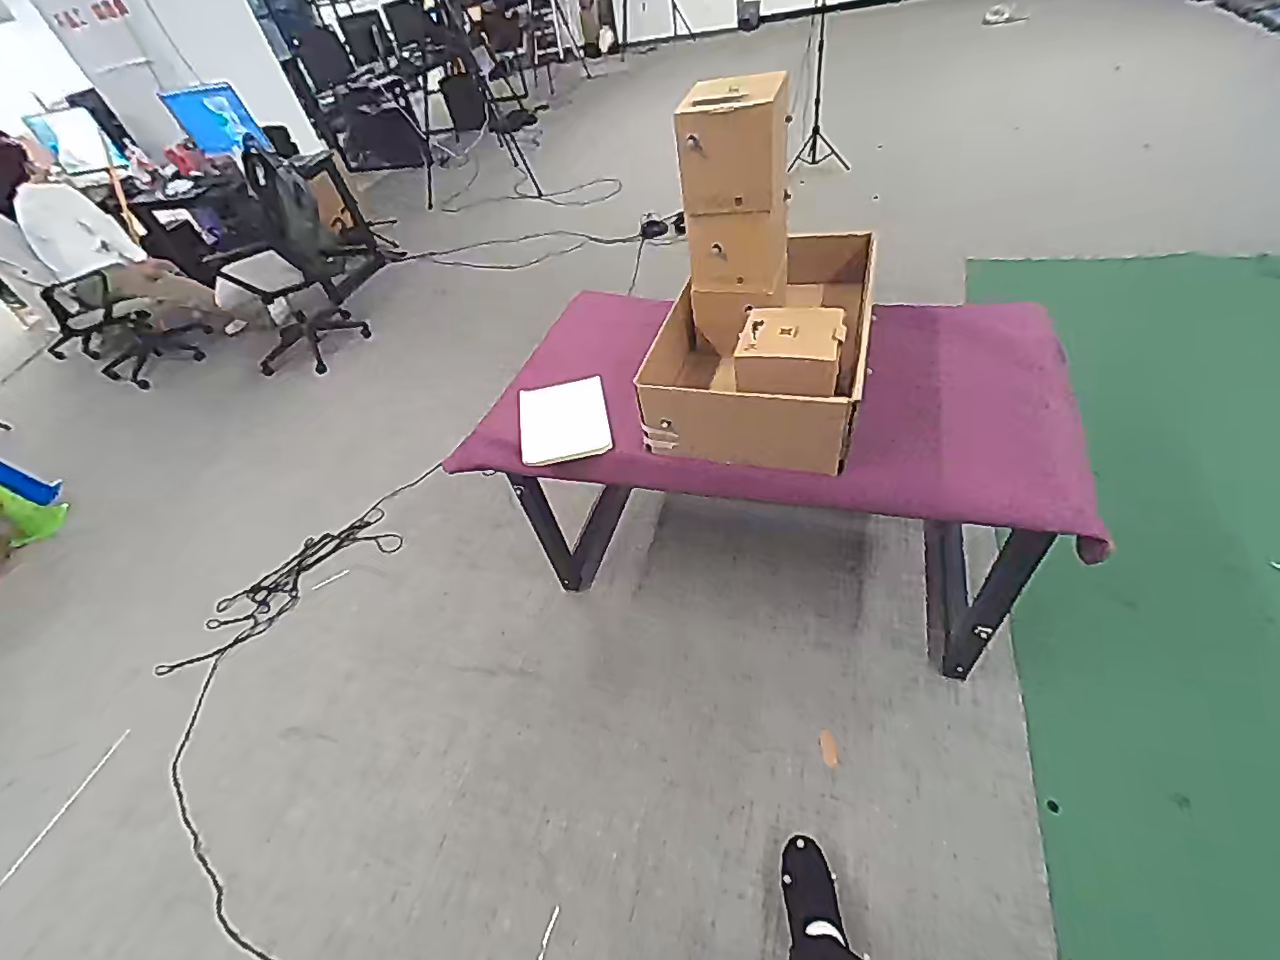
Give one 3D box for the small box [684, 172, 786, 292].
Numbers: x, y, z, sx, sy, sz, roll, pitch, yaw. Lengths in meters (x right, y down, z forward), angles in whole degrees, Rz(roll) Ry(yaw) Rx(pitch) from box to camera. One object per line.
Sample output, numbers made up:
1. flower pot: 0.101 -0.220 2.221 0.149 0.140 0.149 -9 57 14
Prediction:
1. small box: 0.202 -0.504 1.111 0.168 0.176 0.179 9 52 21
